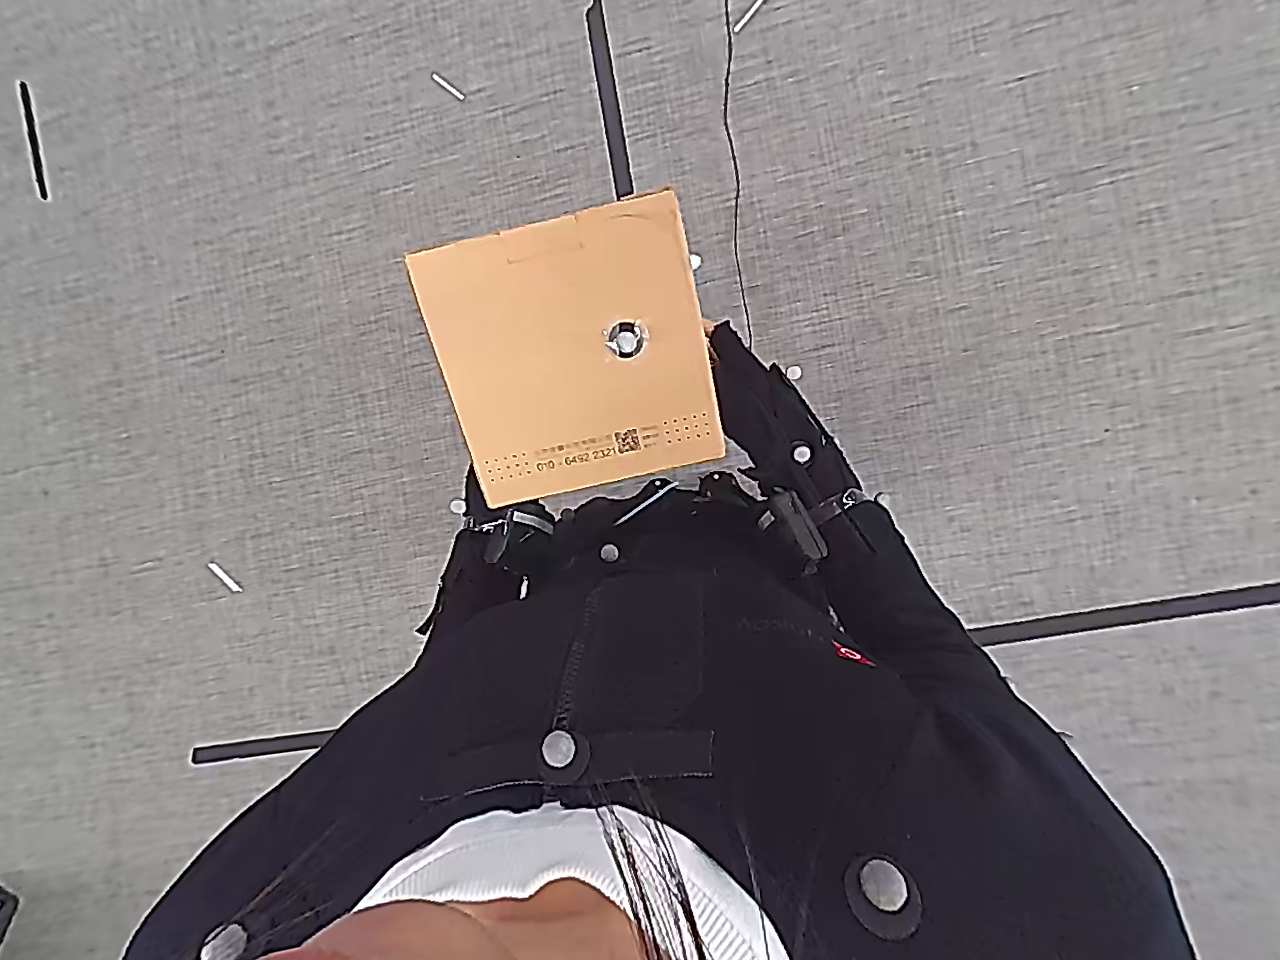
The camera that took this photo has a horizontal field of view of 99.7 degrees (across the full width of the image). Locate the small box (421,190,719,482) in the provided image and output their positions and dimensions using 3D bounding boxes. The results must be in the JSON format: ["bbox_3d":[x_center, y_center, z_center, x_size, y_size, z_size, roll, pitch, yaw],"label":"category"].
[{"bbox_3d":[-0.038,-0.107,0.431,0.168,0.179,0.176,-11,109,5],"label":"small box"}]
